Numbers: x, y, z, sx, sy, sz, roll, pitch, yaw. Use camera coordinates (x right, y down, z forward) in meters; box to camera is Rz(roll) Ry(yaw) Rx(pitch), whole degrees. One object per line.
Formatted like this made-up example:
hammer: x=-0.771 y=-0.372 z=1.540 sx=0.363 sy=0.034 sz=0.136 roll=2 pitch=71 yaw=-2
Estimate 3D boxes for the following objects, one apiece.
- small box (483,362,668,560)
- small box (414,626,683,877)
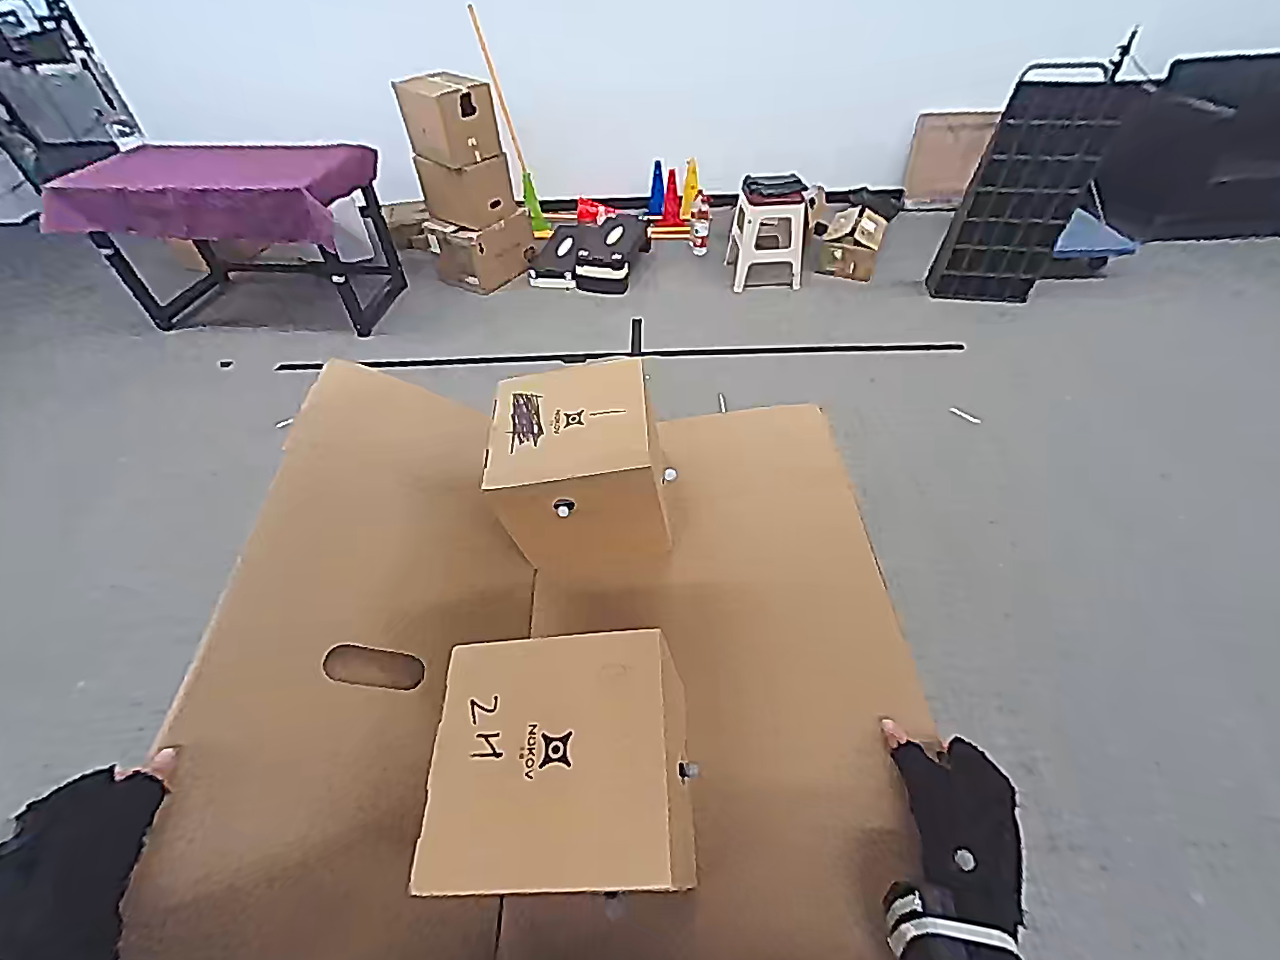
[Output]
small box: x=-0.068 y=-0.016 z=0.660 sx=0.179 sy=0.176 sz=0.168 roll=-8 pitch=53 yaw=6
small box: x=-0.056 y=0.238 z=0.467 sx=0.179 sy=0.176 sz=0.168 roll=-6 pitch=53 yaw=8
